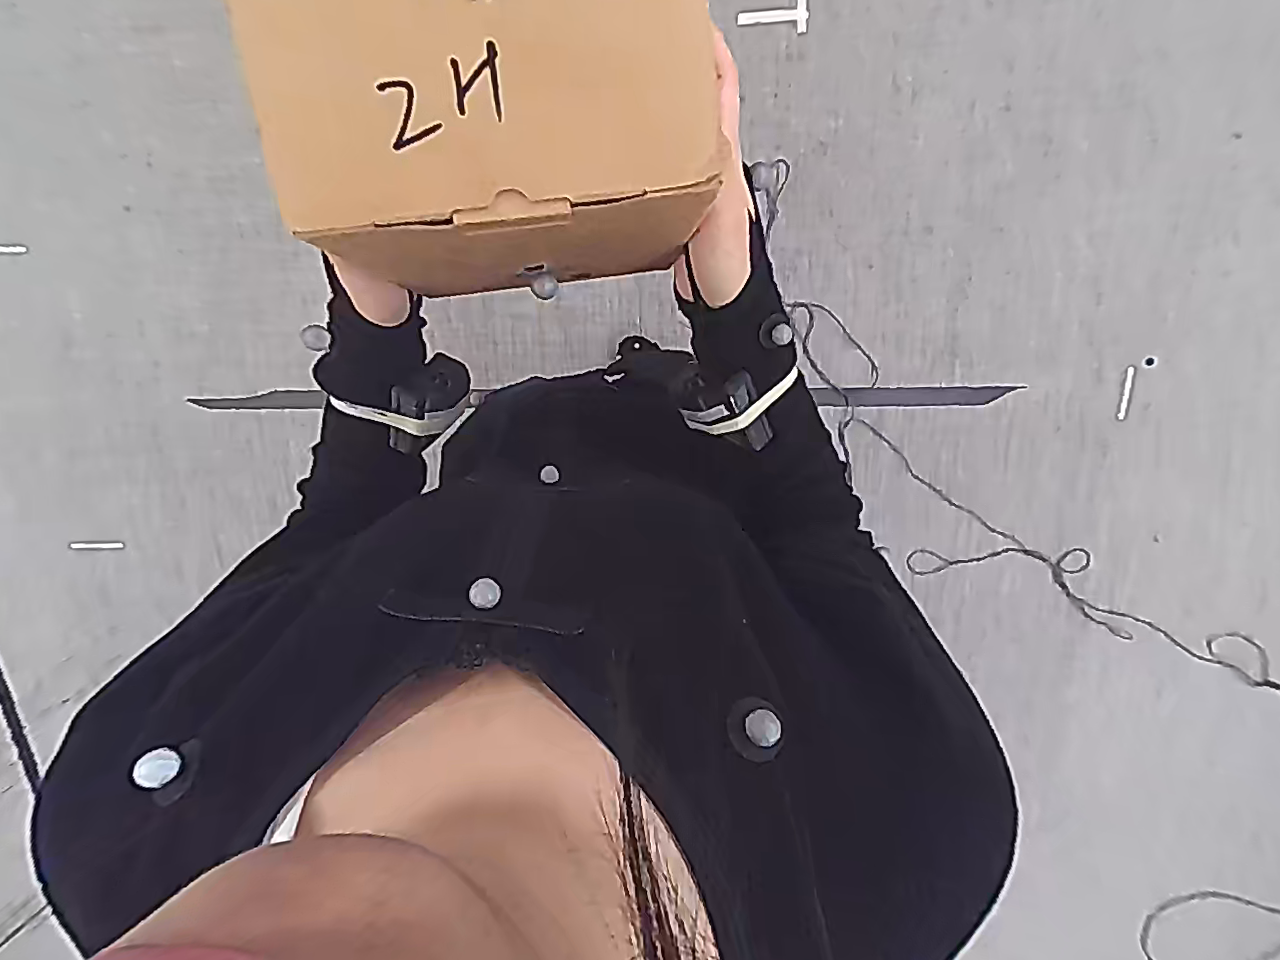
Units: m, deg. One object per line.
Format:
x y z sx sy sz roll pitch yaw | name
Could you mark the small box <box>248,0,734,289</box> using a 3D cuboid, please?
-0.061 -0.204 0.264 0.168 0.176 0.179 -8 102 -3 | small box
